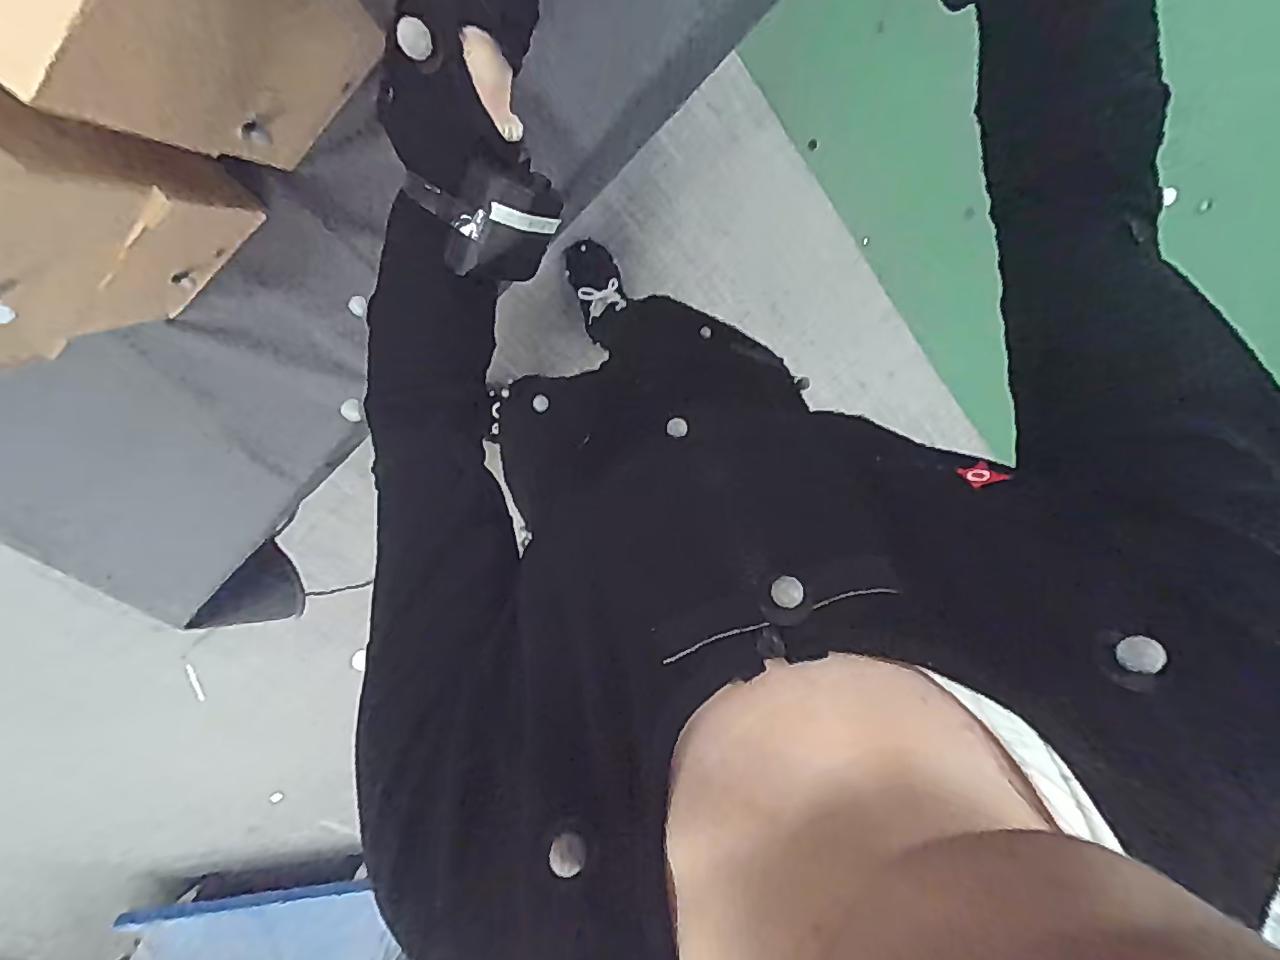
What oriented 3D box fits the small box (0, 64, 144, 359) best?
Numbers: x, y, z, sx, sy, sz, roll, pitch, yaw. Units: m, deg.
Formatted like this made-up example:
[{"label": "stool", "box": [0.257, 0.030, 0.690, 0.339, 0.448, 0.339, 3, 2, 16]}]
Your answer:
[{"label": "small box", "box": [-0.472, -0.180, 0.332, 0.168, 0.176, 0.179, 37, 104, -23]}]
